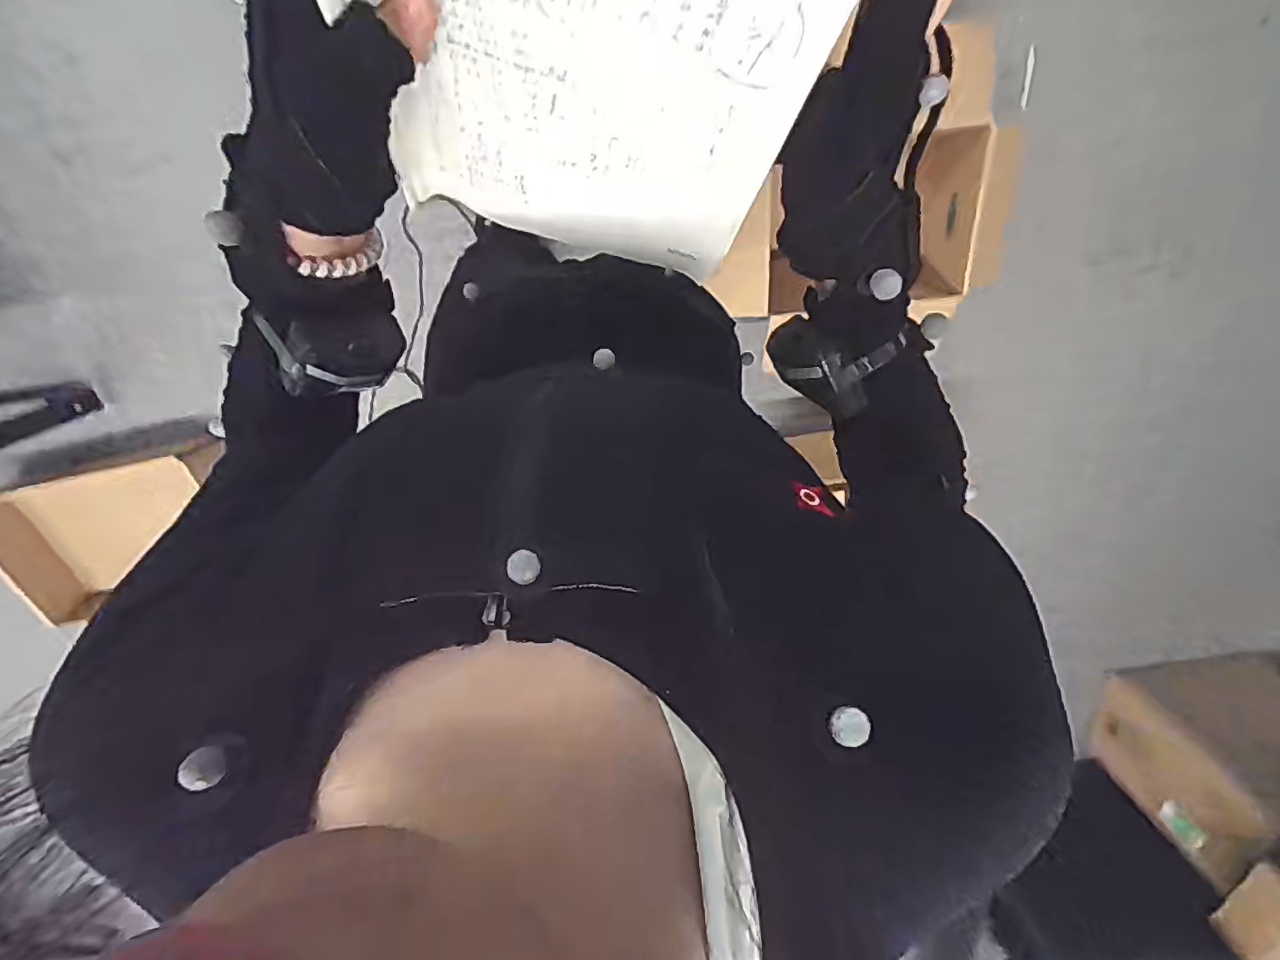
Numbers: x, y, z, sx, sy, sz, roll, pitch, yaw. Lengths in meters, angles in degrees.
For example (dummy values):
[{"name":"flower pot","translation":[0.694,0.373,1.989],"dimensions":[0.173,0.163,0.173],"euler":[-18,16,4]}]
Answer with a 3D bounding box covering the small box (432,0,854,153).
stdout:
[{"name":"small box","translation":[0.005,-0.277,0.234],"dimensions":[0.179,0.176,0.168],"euler":[3,157,2]}]
